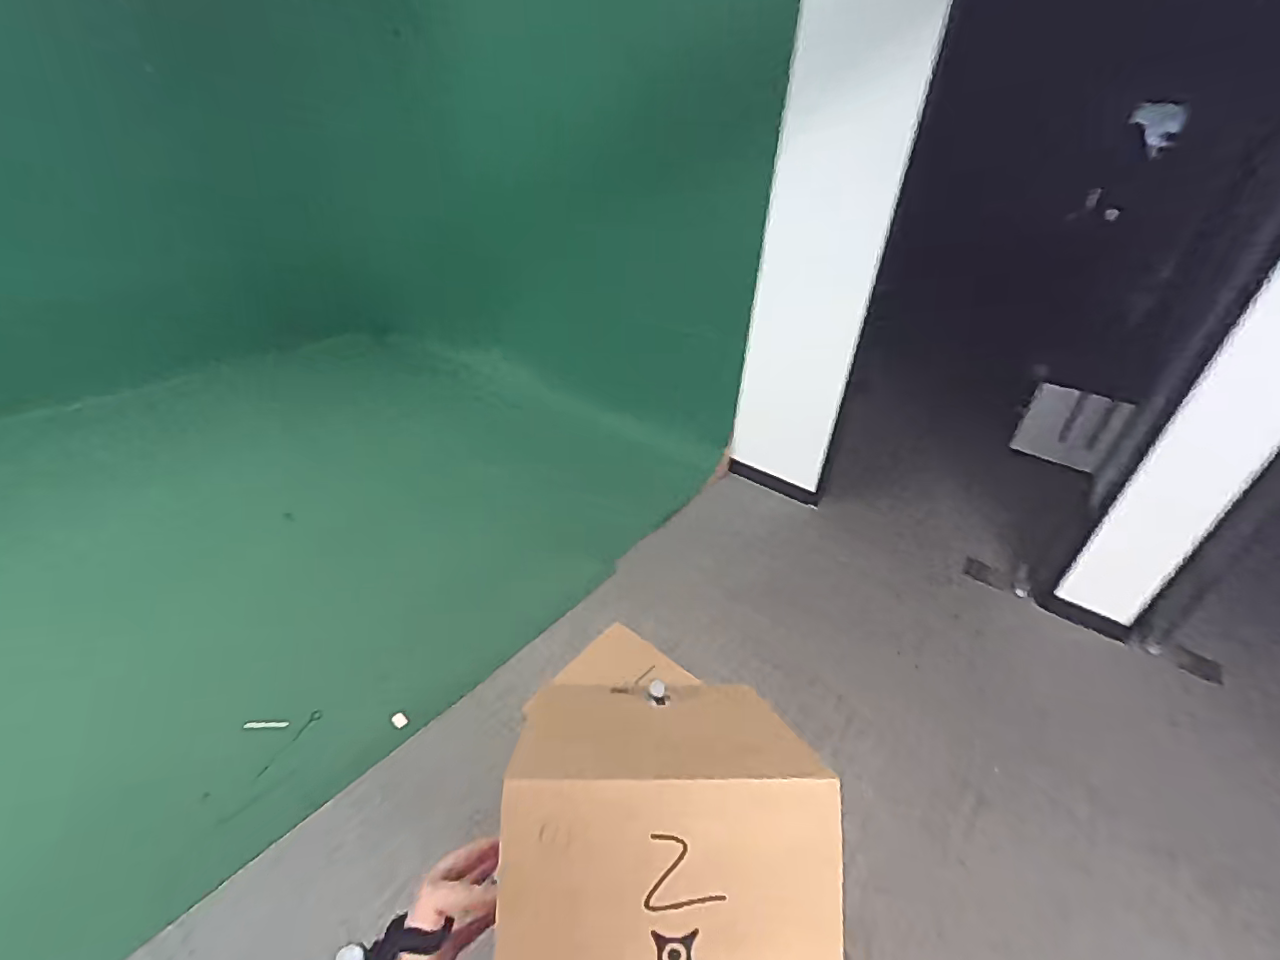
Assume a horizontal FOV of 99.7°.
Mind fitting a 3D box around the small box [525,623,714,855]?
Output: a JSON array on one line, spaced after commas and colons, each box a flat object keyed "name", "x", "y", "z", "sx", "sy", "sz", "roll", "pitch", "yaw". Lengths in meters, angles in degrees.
[{"name": "small box", "x": -0.026, "y": 0.331, "z": 0.701, "sx": 0.168, "sy": 0.176, "sz": 0.179, "roll": 28, "pitch": 42, "yaw": 29}]
